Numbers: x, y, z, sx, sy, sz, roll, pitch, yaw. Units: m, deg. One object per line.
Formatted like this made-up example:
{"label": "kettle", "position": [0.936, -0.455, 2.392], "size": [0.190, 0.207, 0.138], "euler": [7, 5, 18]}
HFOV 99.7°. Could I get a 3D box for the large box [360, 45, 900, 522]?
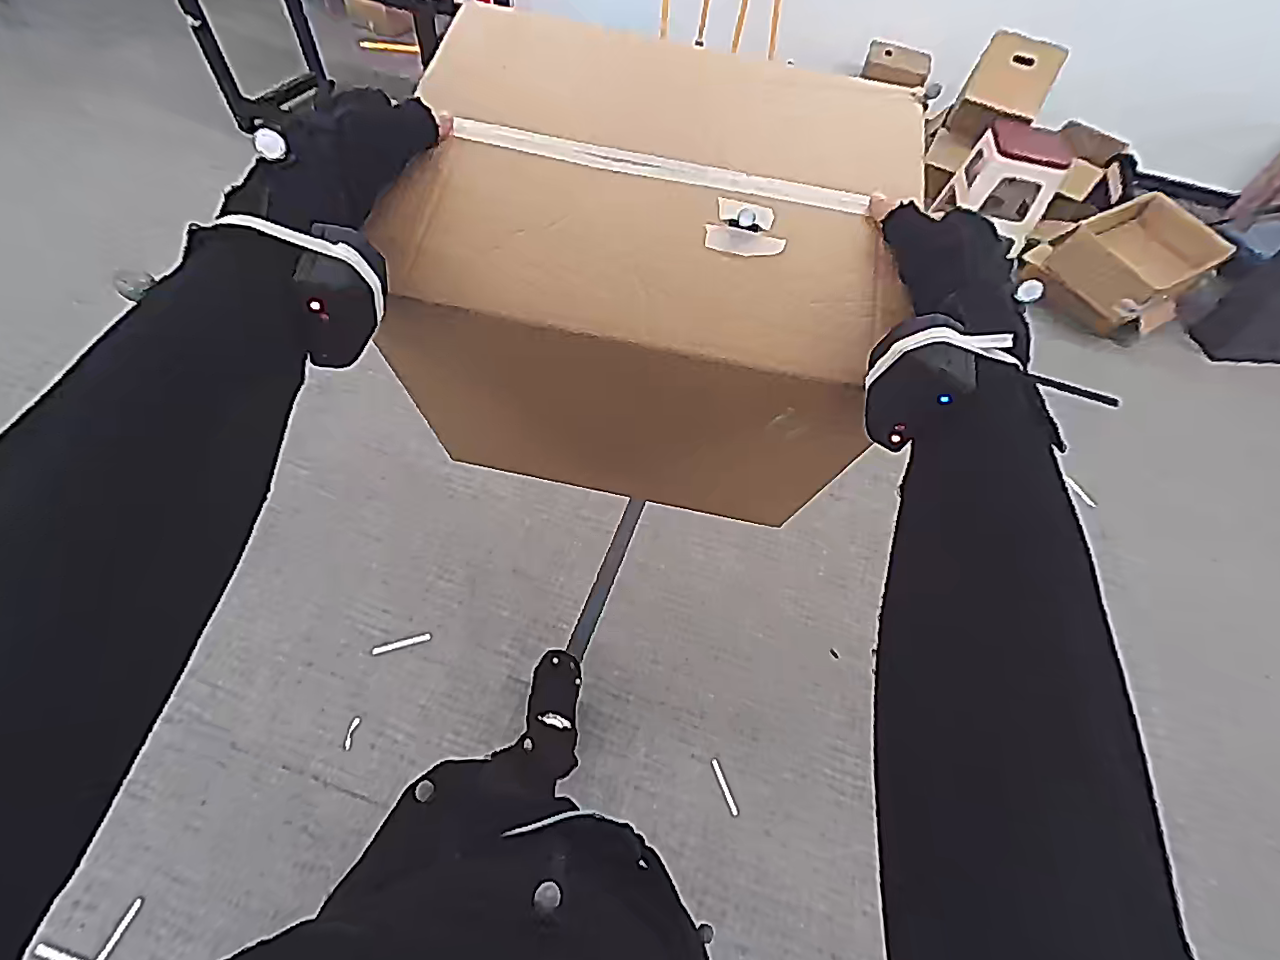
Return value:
{"label": "large box", "position": [0.004, -0.172, 0.579], "size": [0.408, 0.320, 0.320], "euler": [11, 69, -1]}
